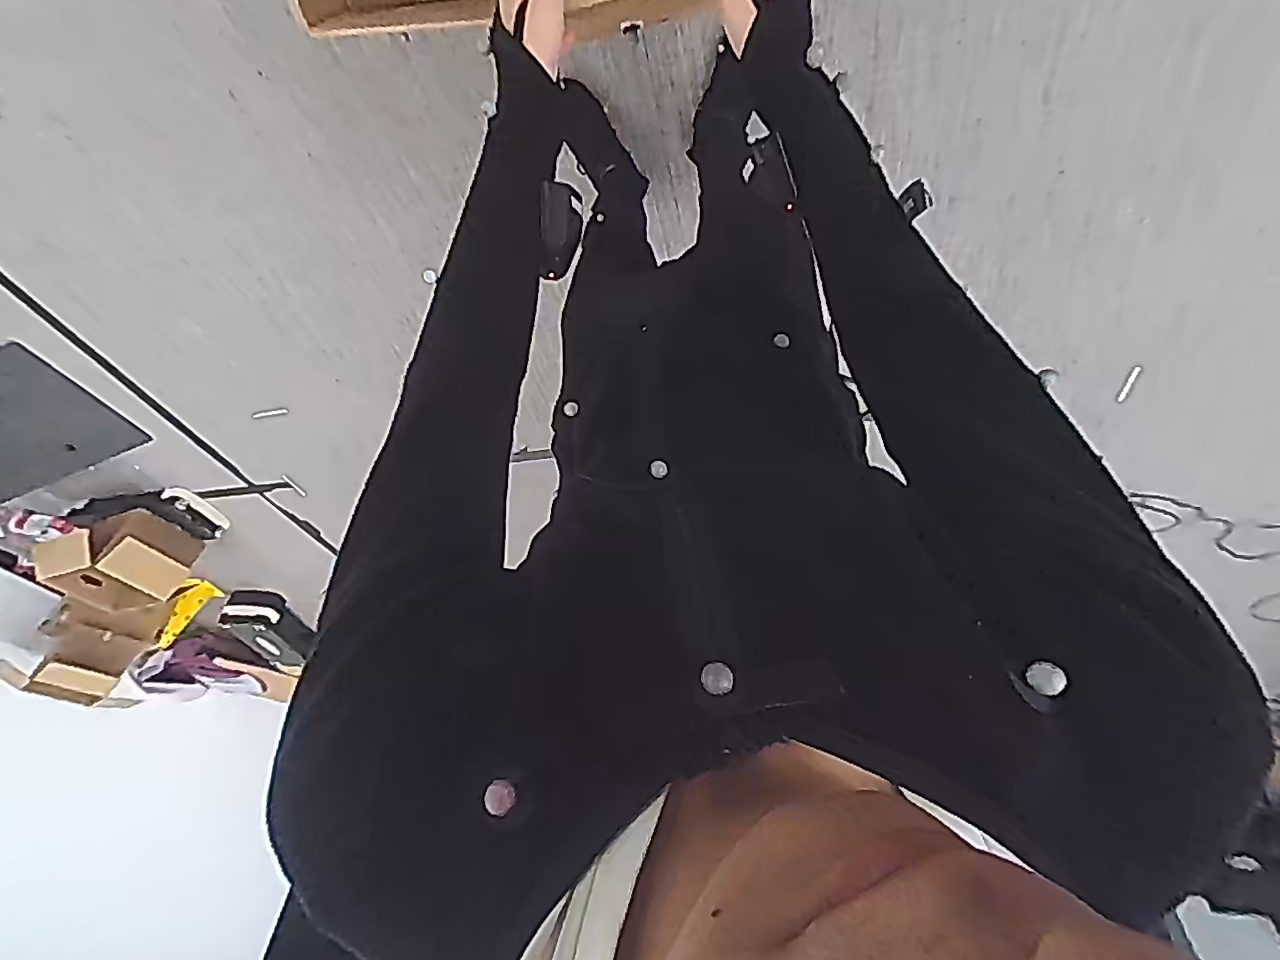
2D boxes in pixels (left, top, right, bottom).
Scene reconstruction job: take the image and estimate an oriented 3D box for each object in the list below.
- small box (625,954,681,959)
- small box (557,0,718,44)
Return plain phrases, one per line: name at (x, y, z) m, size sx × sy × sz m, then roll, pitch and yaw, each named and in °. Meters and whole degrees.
small box at (0.043, 1.715, 1.825) m, size 0.168 × 0.176 × 0.179 m, roll -9°, pitch 140°, yaw 14°
small box at (-0.011, -0.535, 0.489) m, size 0.168 × 0.176 × 0.179 m, roll -9°, pitch 120°, yaw 4°
